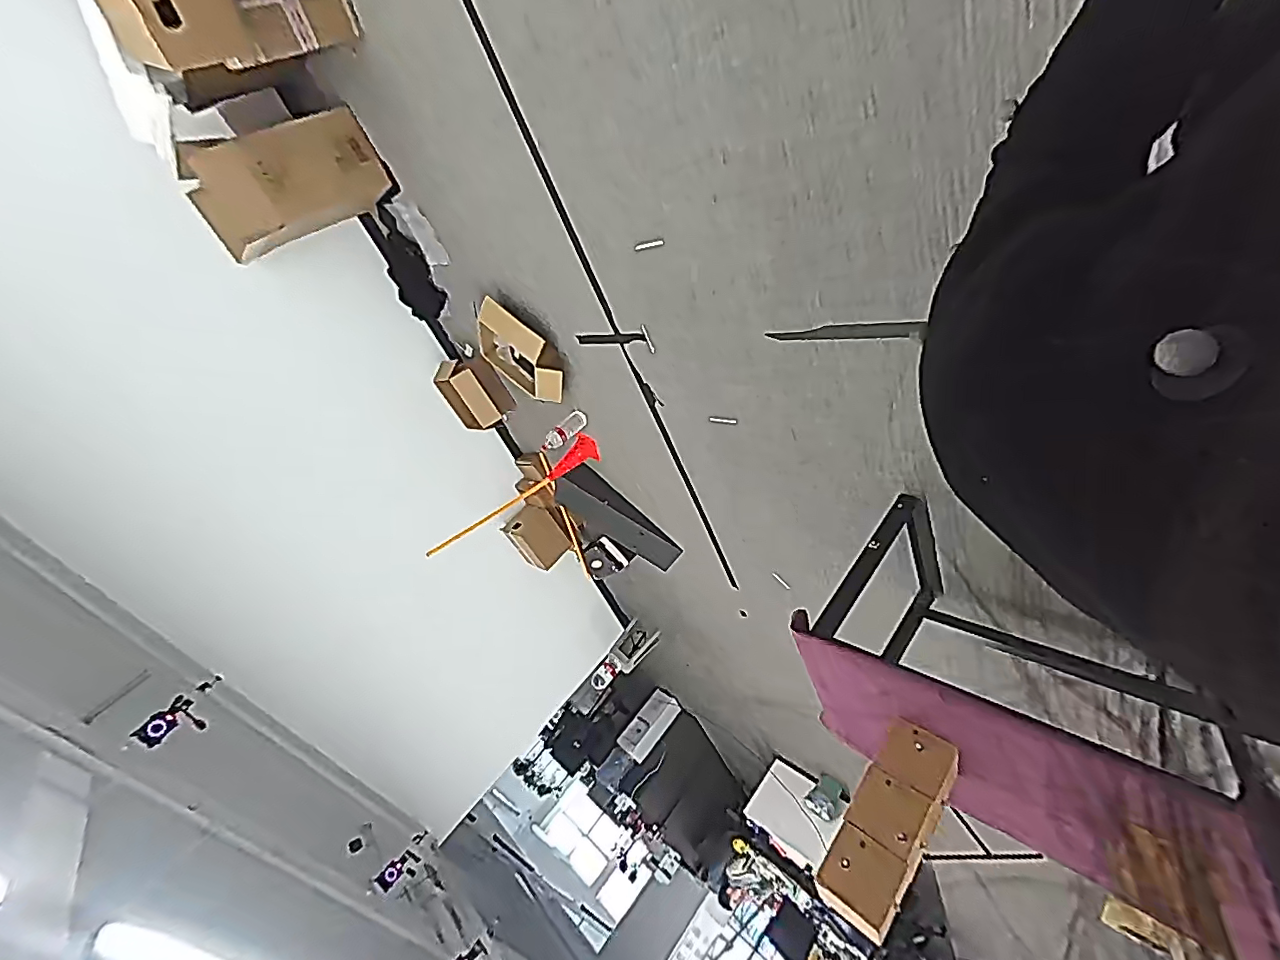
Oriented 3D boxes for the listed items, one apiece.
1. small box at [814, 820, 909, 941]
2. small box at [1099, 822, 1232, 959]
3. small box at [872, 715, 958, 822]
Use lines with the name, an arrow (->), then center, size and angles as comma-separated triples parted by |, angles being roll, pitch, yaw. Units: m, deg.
small box -> 0.565, 1.008, 1.371 | 0.168, 0.176, 0.179 | 21, 146, 42
small box -> 1.099, 0.871, 1.135 | 0.168, 0.176, 0.179 | 16, 140, 46
small box -> 0.775, 0.806, 1.520 | 0.168, 0.176, 0.179 | 18, 143, 42
